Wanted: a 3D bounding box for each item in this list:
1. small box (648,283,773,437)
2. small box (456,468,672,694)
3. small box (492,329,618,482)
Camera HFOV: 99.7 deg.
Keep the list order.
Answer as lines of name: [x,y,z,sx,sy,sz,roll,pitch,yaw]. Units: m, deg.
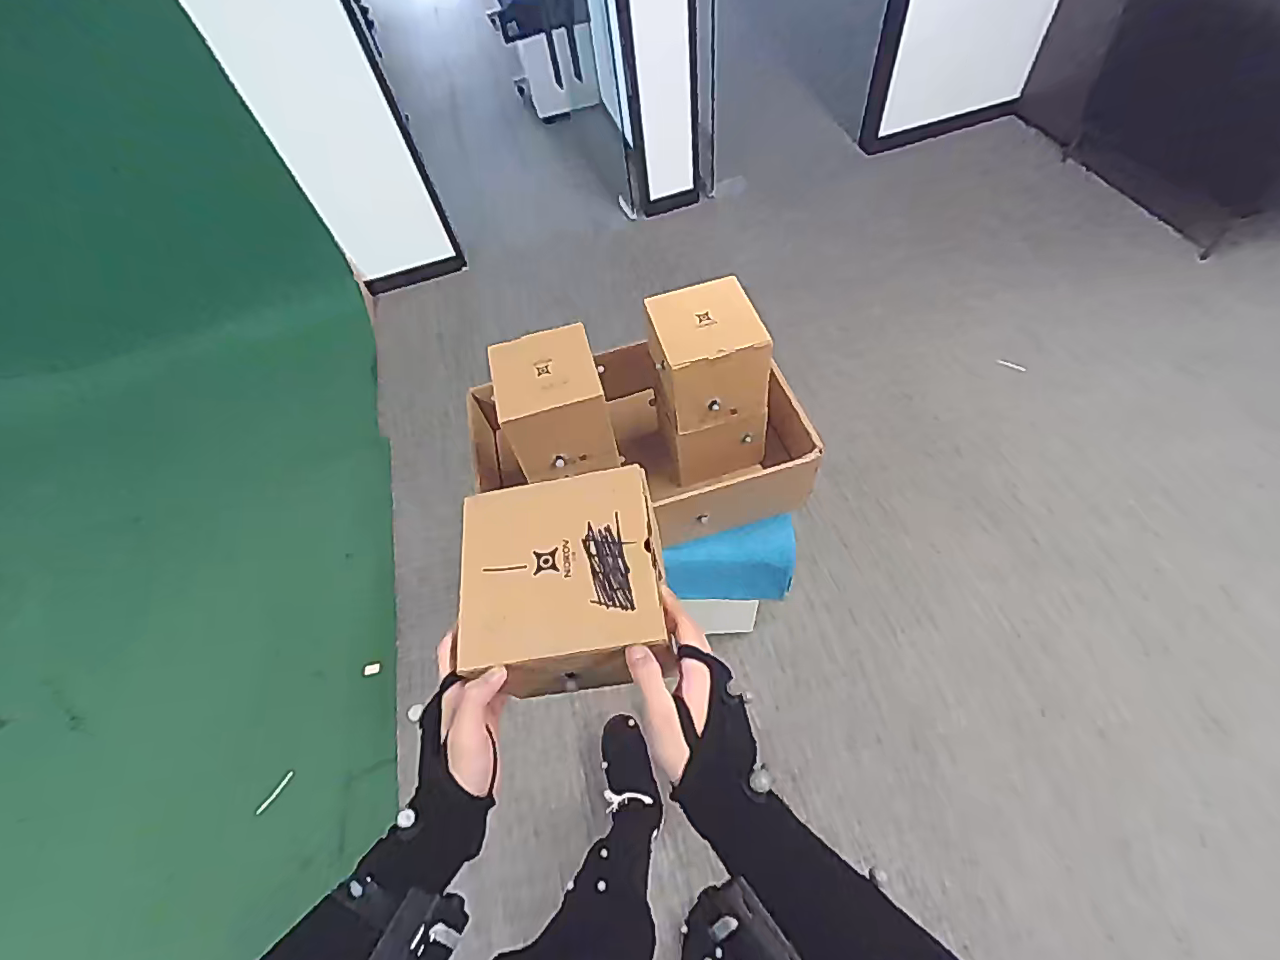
small box: [0.117,-0.205,0.939,0.168,0.176,0.179,-15,55,-2]
small box: [-0.064,0.109,0.546,0.179,0.176,0.168,-10,59,3]
small box: [-0.142,-0.122,0.922,0.168,0.176,0.179,-15,56,-3]
